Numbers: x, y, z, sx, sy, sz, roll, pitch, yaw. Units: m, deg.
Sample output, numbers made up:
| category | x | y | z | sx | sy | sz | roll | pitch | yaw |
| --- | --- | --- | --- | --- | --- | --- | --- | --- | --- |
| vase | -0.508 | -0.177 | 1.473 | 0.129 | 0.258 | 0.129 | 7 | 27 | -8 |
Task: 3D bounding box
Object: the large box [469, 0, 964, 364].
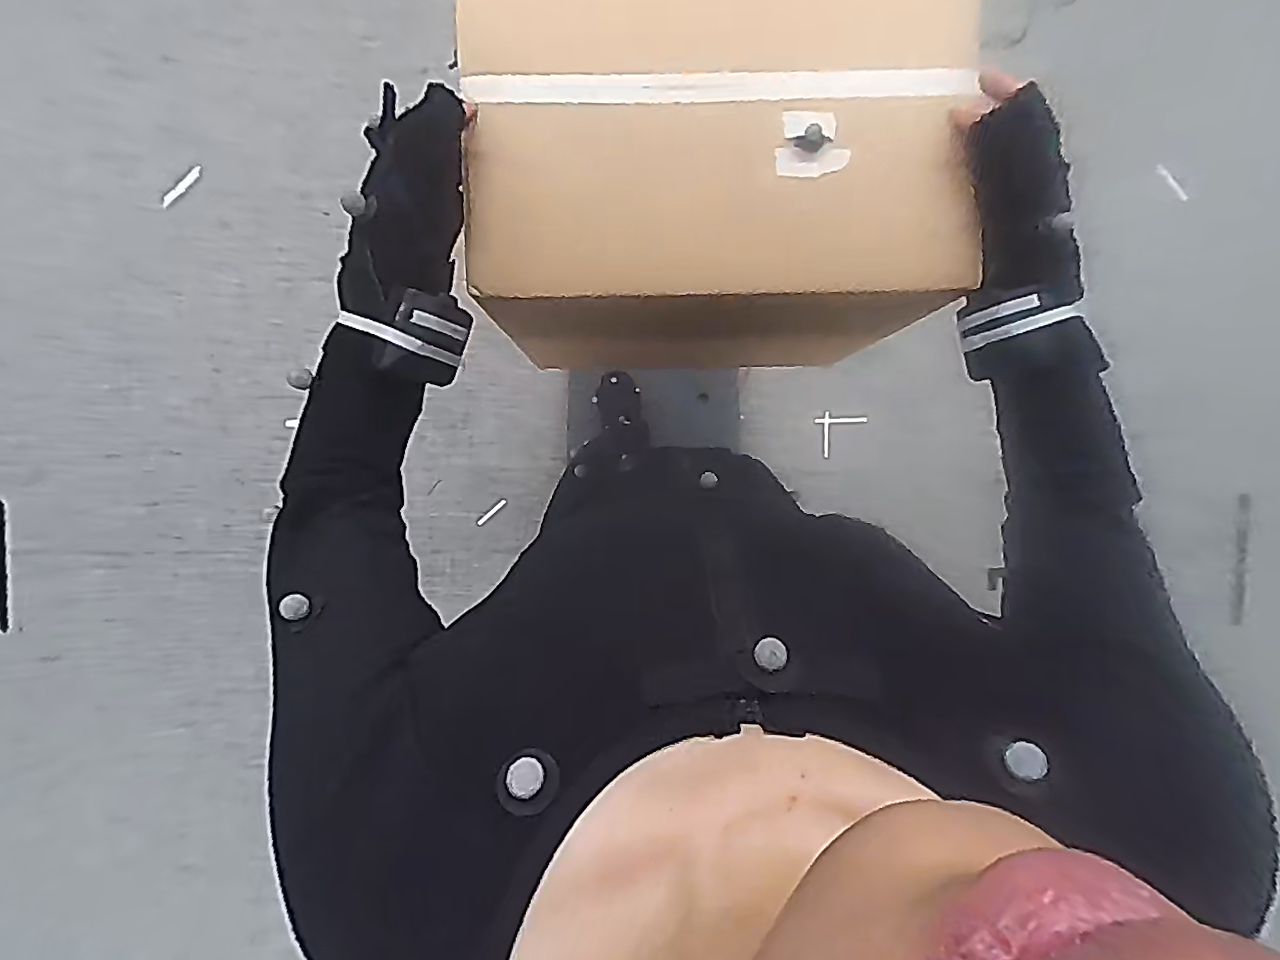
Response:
| category | x | y | z | sx | sy | sz | roll | pitch | yaw |
| --- | --- | --- | --- | --- | --- | --- | --- | --- | --- |
| large box | 0.058 | -0.315 | 0.586 | 0.408 | 0.320 | 0.320 | -1 | 91 | -2 |
